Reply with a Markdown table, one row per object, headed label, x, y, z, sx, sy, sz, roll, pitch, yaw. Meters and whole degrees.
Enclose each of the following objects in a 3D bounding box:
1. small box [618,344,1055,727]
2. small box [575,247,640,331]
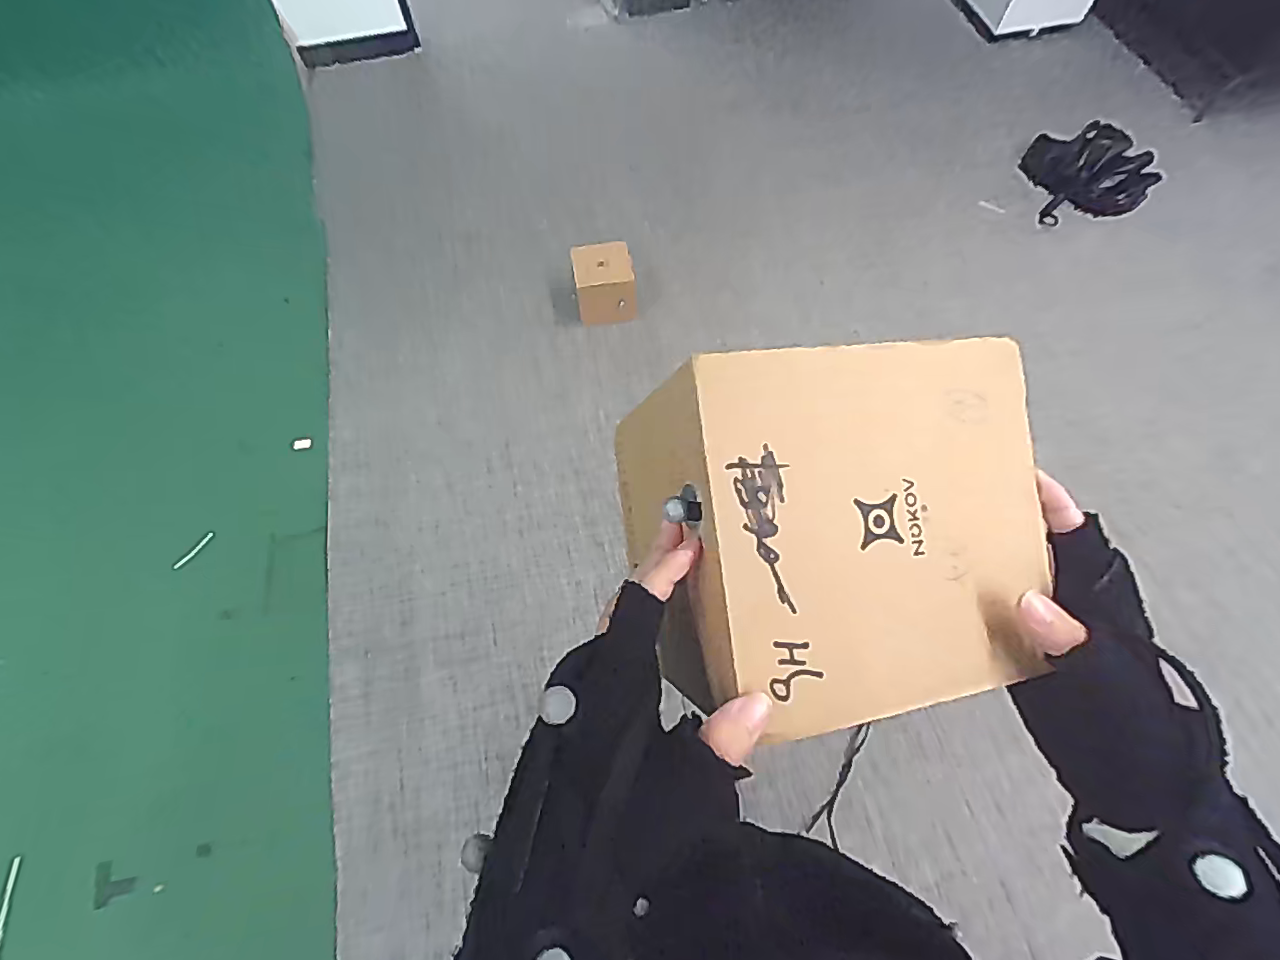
| label | x | y | z | sx | sy | sz | roll | pitch | yaw |
| --- | --- | --- | --- | --- | --- | --- | --- | --- | --- |
| small box | 0.096 | 0.024 | 0.330 | 0.179 | 0.176 | 0.168 | -5 | 84 | -16 |
| small box | -0.098 | -0.591 | 1.683 | 0.179 | 0.176 | 0.168 | -10 | 65 | -3 |
